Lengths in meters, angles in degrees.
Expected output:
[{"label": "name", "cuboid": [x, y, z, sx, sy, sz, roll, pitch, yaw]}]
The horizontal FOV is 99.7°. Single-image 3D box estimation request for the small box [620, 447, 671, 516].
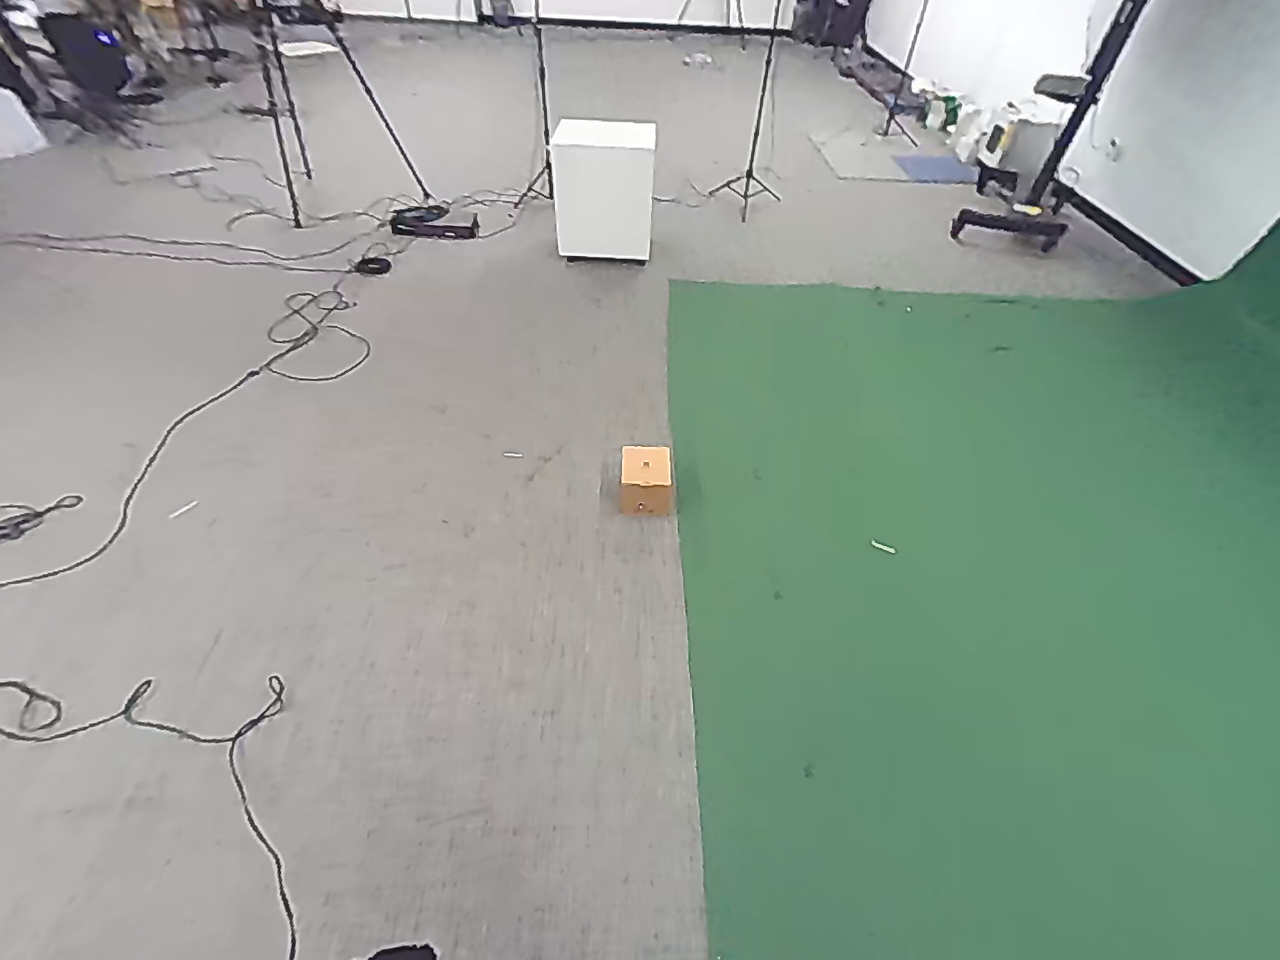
[{"label": "small box", "cuboid": [0.016, 0.005, 1.885, 0.168, 0.176, 0.179, 1, 48, -2]}]
